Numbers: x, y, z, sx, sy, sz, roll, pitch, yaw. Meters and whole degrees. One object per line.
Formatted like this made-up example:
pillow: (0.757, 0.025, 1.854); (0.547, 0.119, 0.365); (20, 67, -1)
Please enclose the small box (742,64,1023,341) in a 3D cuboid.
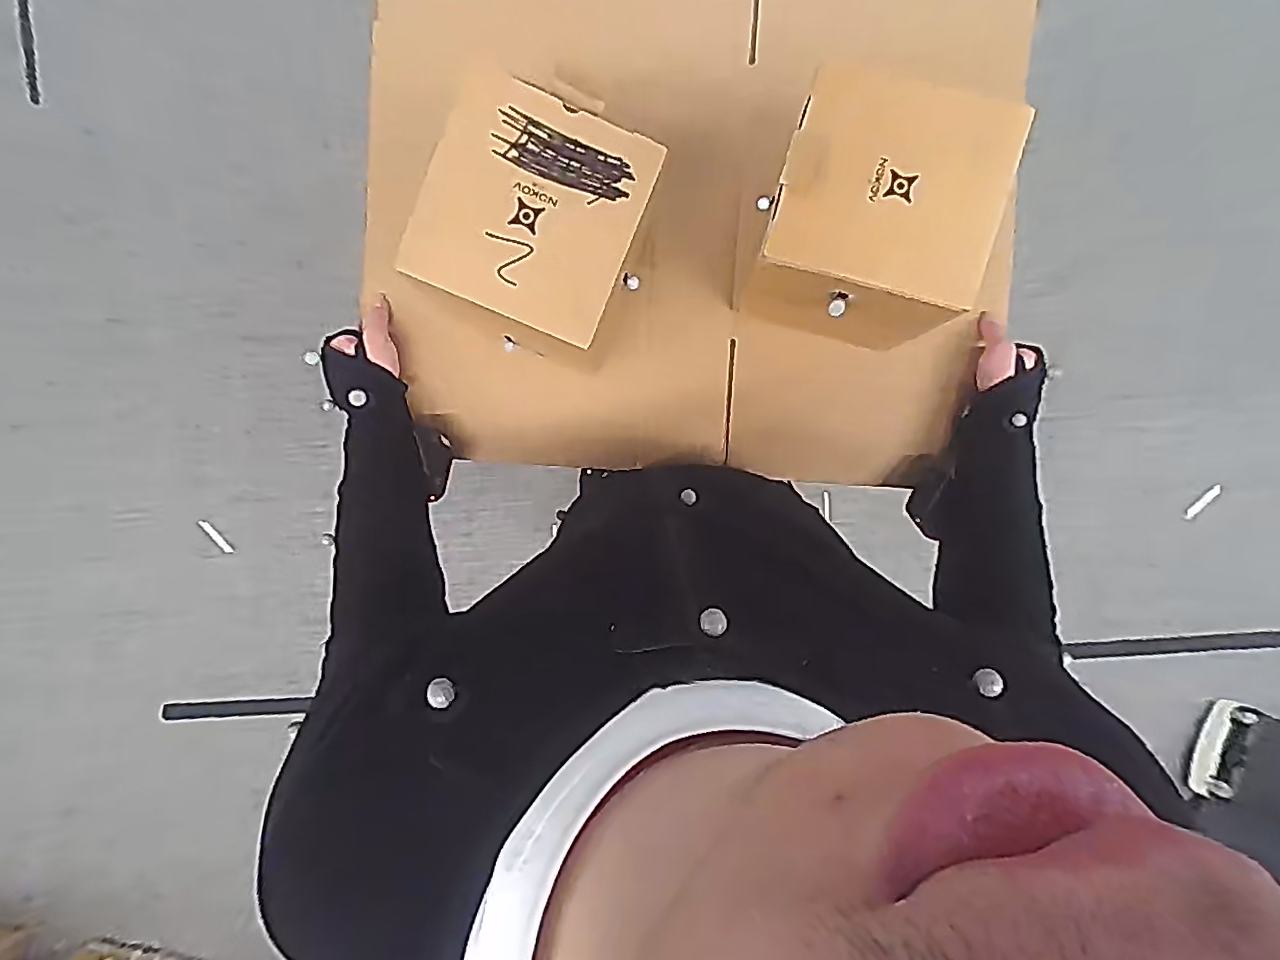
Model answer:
small box: (0.211, -0.245, 0.524); (0.179, 0.176, 0.168); (16, 93, 4)
